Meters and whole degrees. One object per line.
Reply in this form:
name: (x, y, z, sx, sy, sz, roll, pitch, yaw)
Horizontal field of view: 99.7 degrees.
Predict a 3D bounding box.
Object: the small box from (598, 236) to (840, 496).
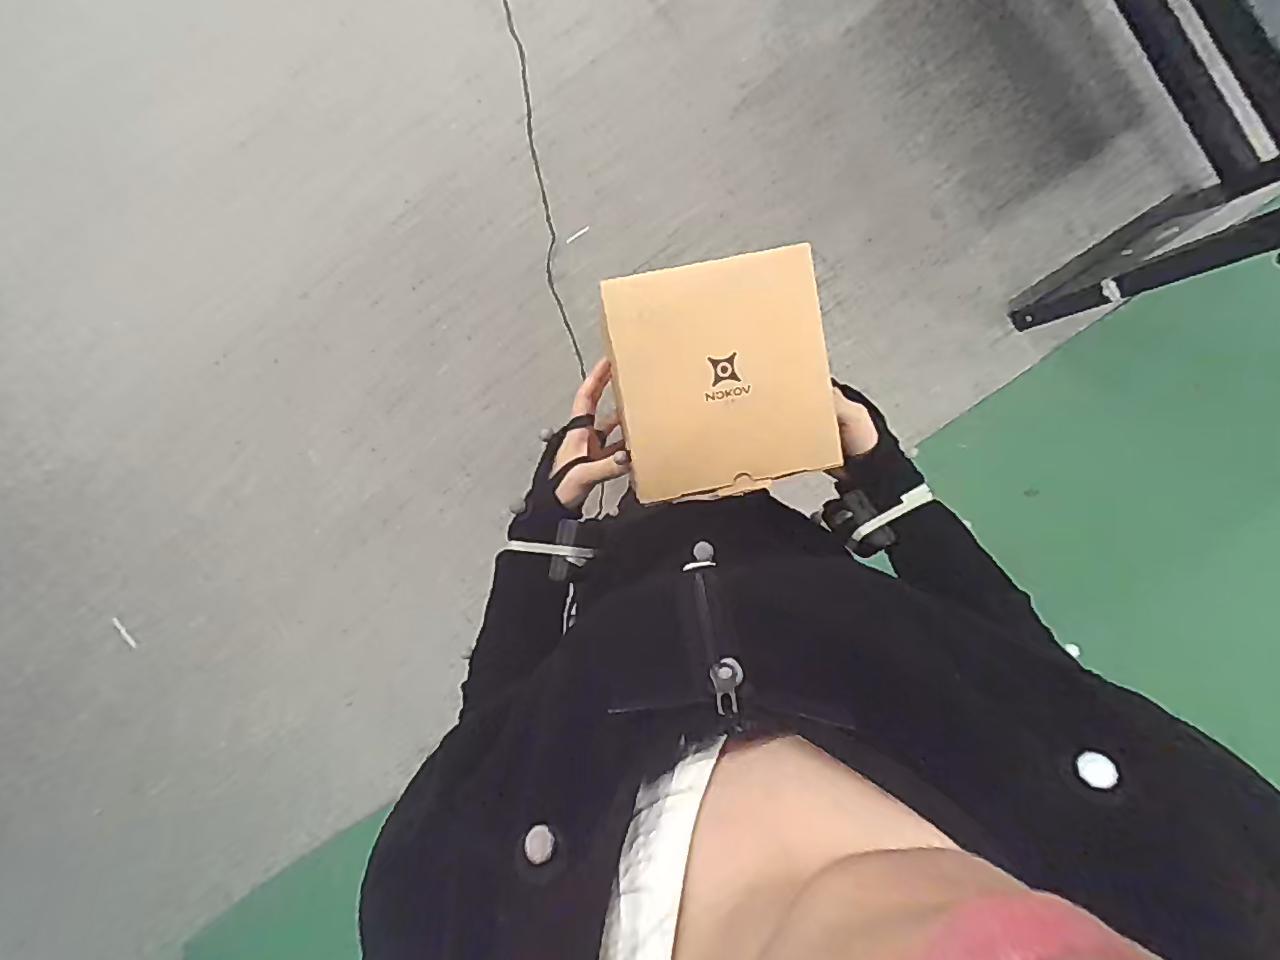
small box: (0.056, -0.093, 0.491, 0.168, 0.176, 0.179, -12, 97, -3)
